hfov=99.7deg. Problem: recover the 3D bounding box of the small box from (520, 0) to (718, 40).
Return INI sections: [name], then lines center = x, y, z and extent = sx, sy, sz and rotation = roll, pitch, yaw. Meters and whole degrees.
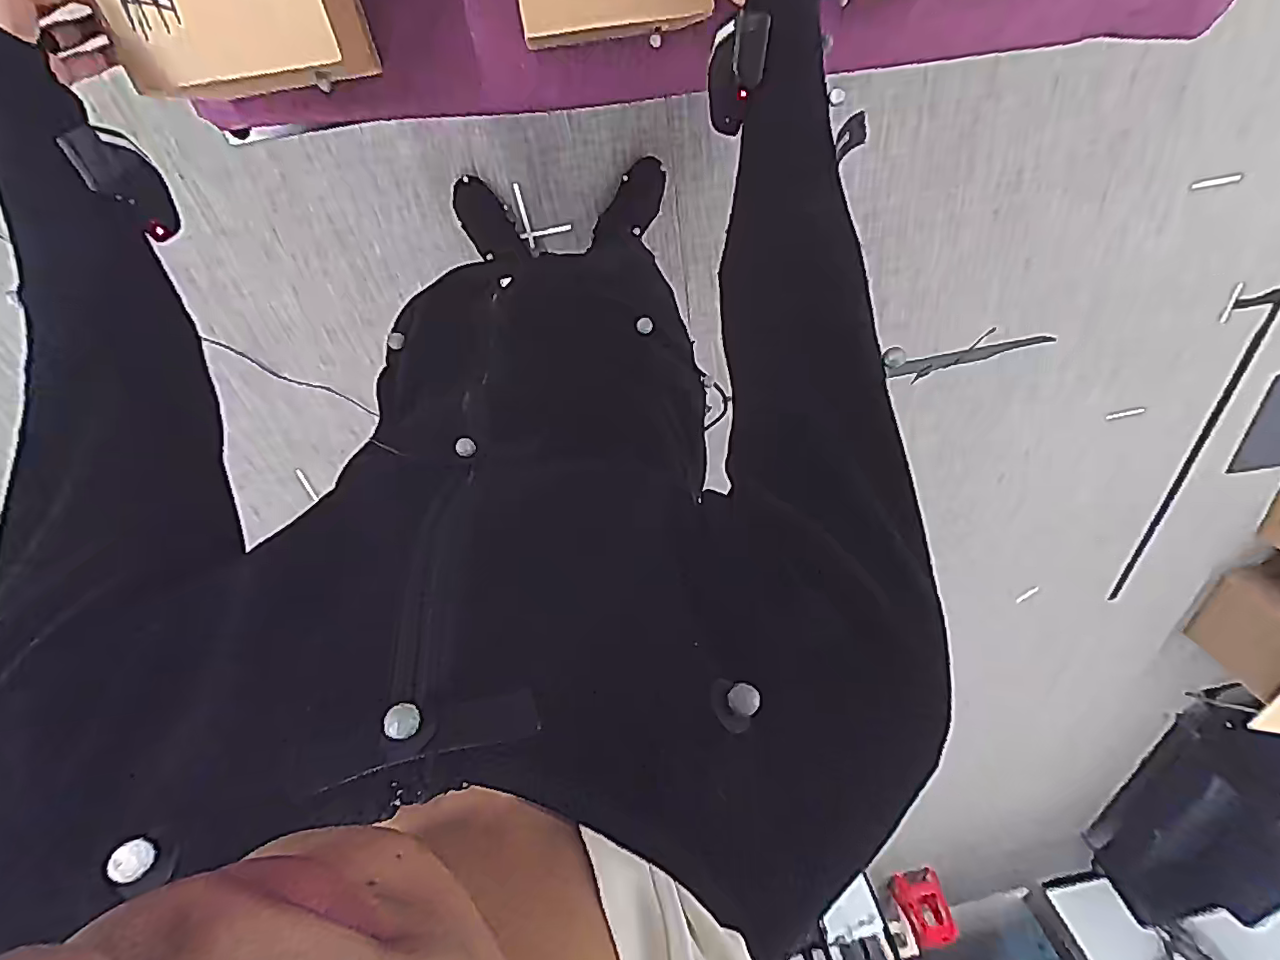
[small box]
center = -0.035, -0.522, 0.494
extent = 0.179, 0.176, 0.168
rotation = -11, 126, -3
